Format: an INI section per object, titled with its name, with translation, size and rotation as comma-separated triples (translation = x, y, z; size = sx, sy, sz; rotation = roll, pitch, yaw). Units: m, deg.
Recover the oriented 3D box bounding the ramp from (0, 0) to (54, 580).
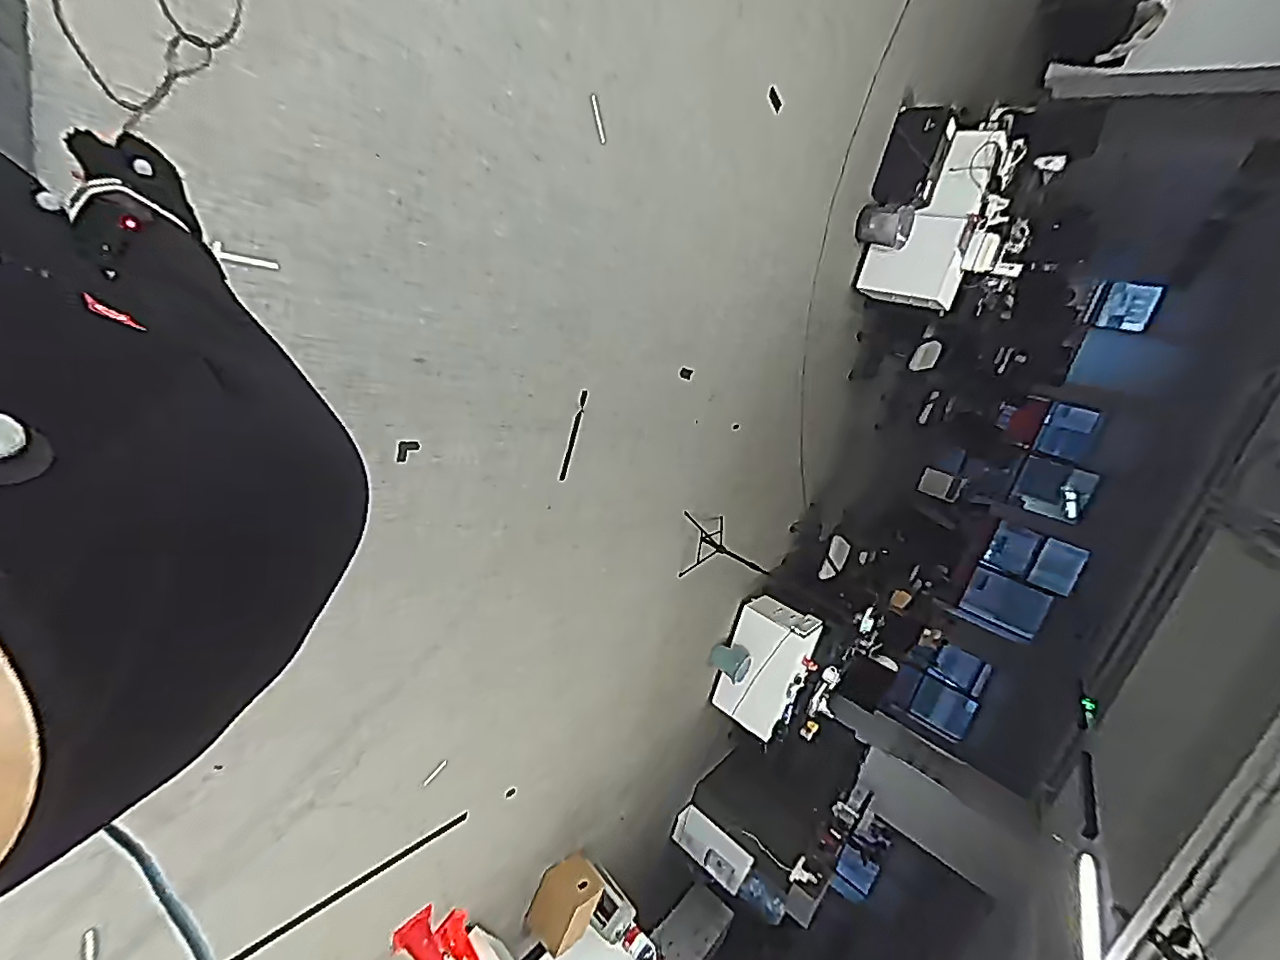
[ramp]
translation = -1.240, -0.294, 0.784
size = 0.509, 0.206, 0.991
rotation = -7, 116, -50
